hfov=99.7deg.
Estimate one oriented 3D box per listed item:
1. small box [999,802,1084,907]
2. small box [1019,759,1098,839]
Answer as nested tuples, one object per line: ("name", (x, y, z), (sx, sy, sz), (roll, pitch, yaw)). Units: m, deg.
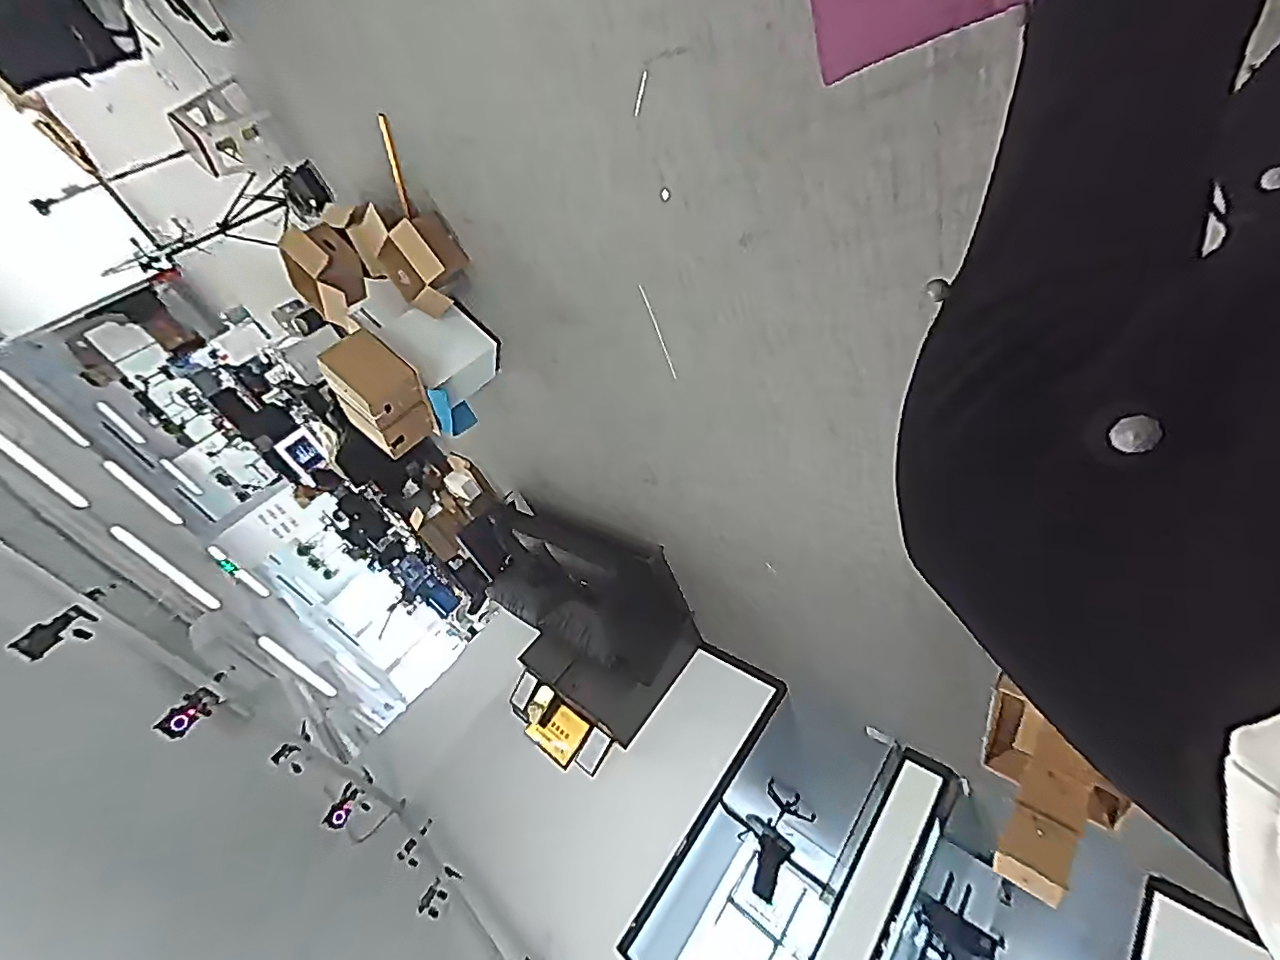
("small box", (1.204, 1.119, 1.623), (0.168, 0.176, 0.179), (17, 140, 43))
("small box", (1.313, 1.028, 1.707), (0.168, 0.176, 0.179), (19, 142, 42))
